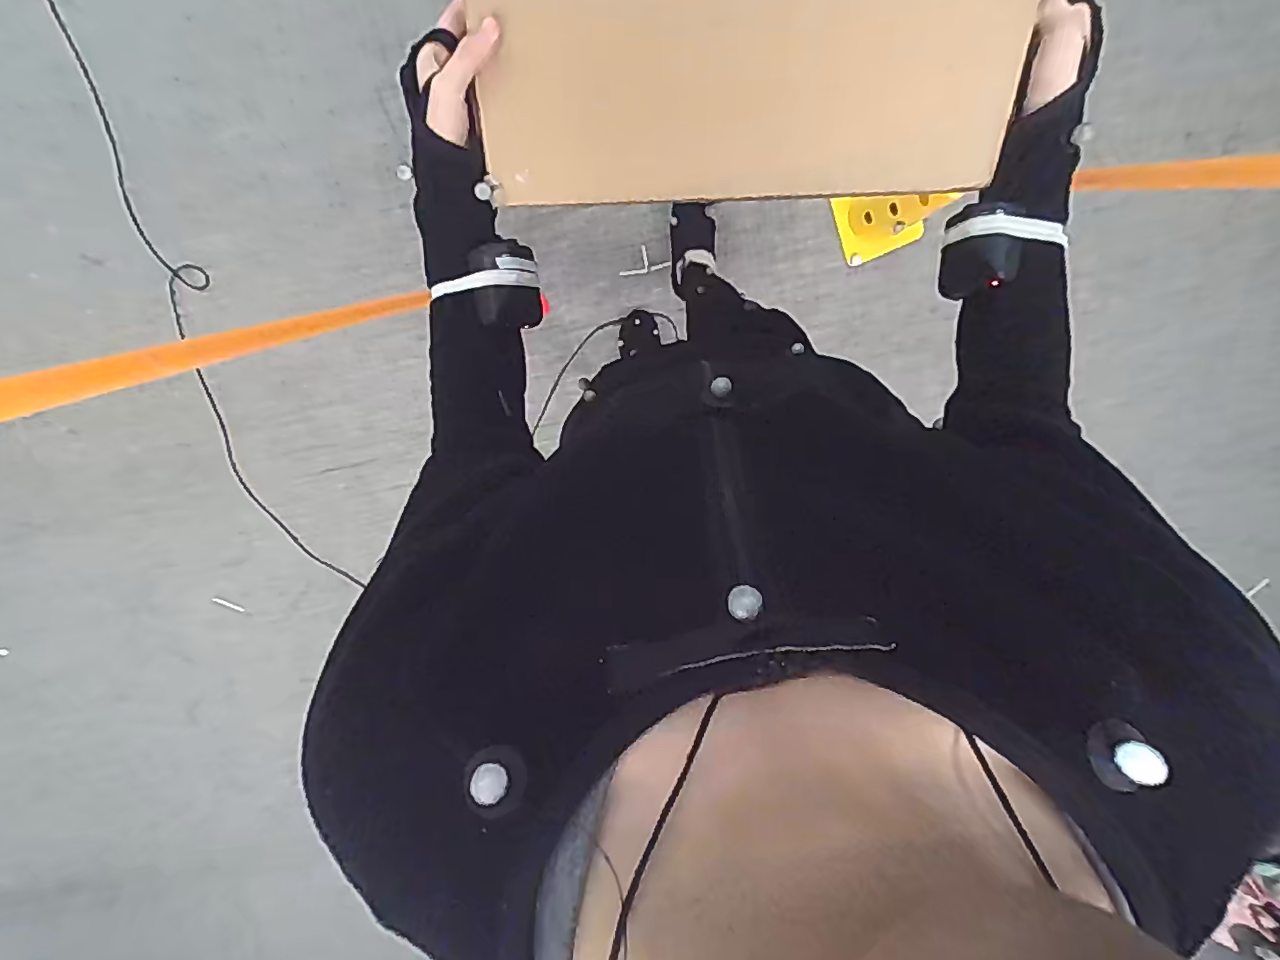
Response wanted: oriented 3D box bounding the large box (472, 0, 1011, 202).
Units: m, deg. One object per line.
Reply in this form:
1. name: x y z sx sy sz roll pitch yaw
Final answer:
1. large box: 0.072 -0.448 0.509 0.408 0.320 0.320 -3 117 0
